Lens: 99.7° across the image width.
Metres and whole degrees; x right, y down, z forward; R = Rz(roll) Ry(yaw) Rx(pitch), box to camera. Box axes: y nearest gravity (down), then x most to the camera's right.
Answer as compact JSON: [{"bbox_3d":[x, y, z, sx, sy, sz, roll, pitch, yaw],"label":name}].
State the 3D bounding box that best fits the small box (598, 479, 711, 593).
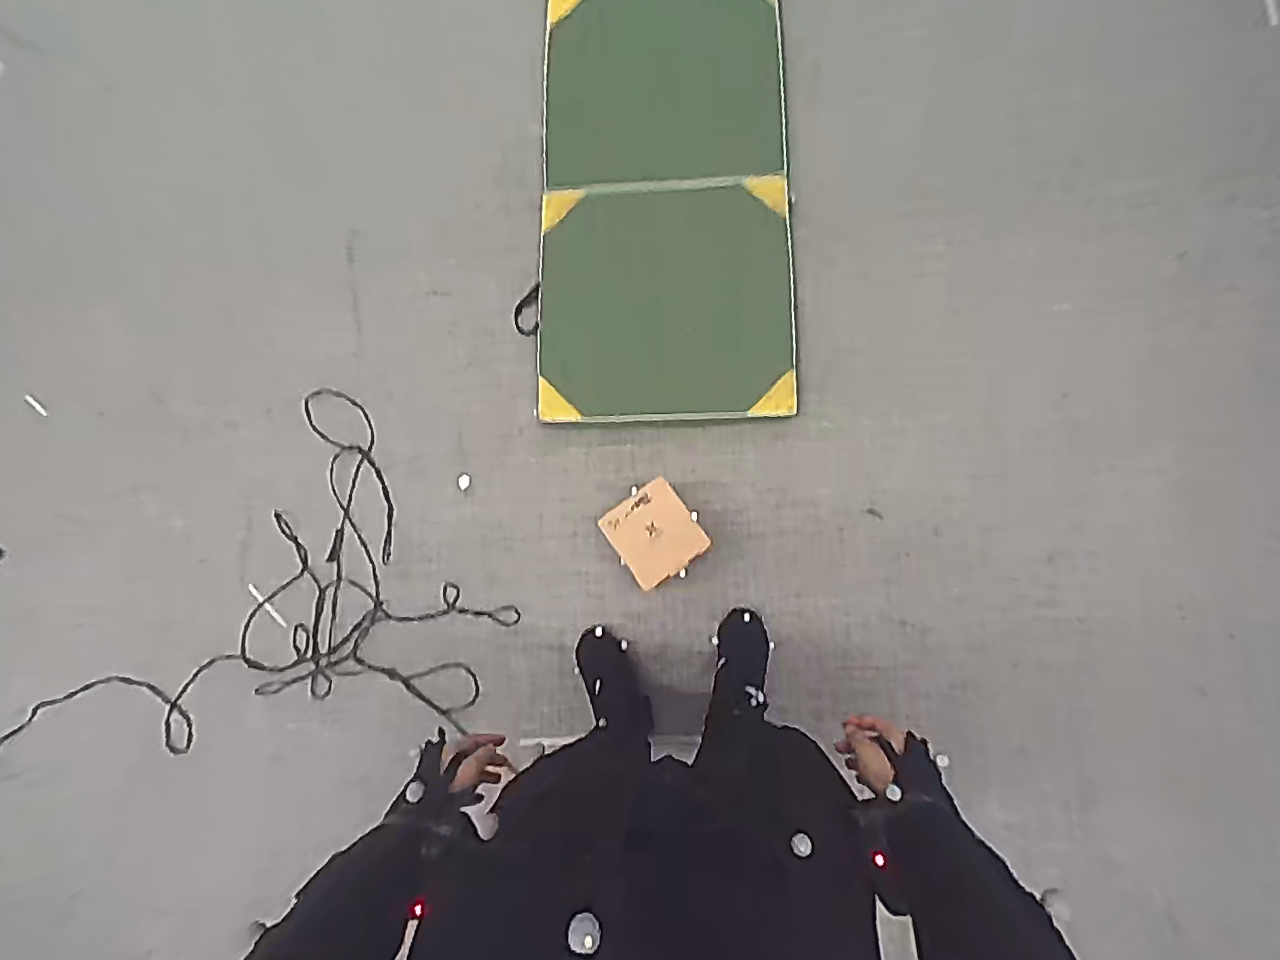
[{"bbox_3d":[0.035,0.122,1.160,0.168,0.176,0.179,-36,79,-2],"label":"small box"}]
